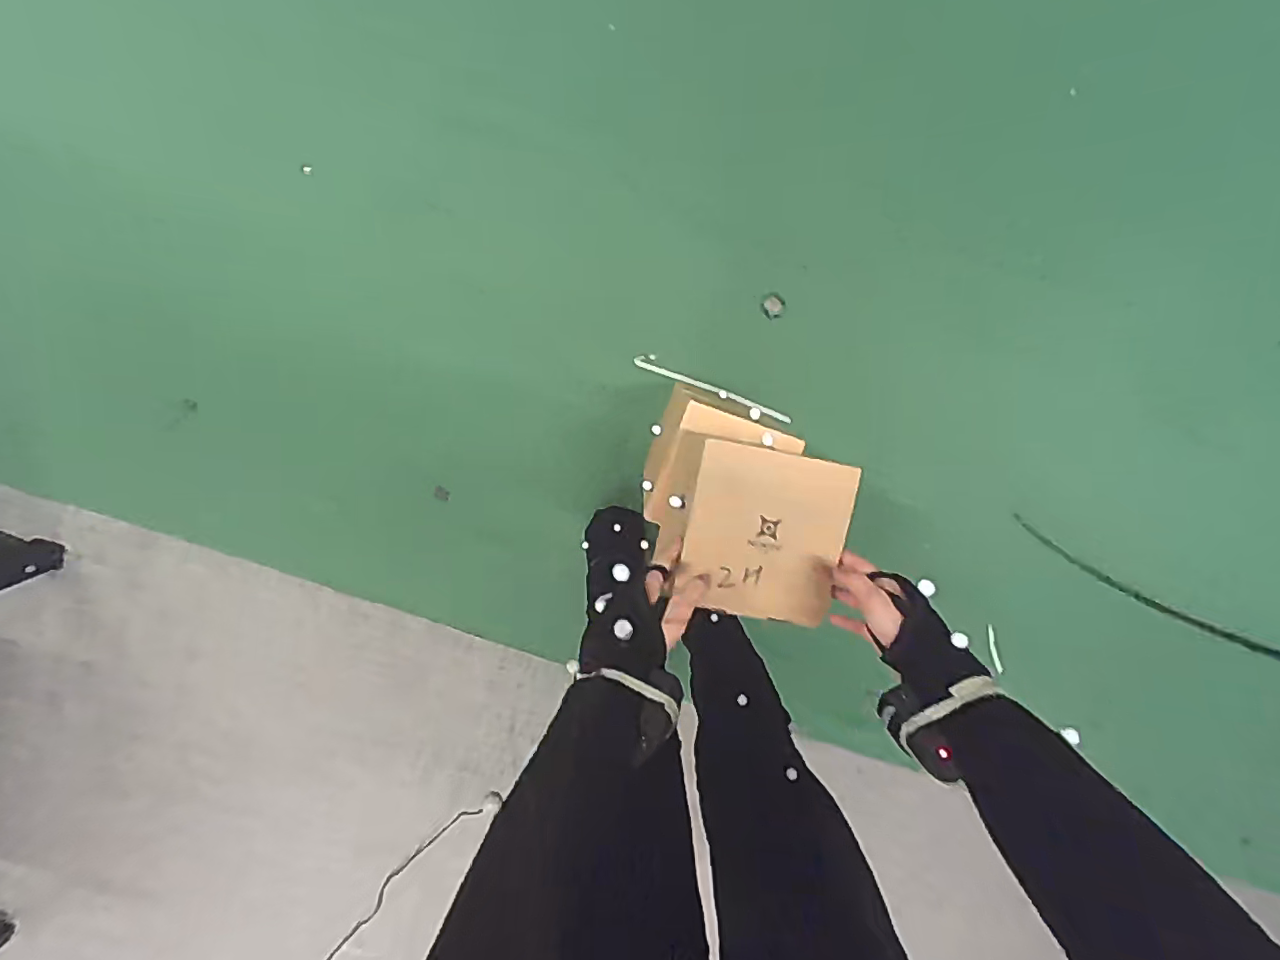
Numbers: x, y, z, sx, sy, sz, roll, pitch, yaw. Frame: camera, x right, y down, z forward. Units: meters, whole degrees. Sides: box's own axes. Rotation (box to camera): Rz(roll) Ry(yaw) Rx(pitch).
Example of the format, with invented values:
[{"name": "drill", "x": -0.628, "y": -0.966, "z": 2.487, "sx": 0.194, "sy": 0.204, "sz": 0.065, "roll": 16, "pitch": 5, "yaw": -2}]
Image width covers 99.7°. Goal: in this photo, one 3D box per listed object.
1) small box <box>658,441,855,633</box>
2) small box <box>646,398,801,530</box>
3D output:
[{"name": "small box", "x": 0.120, "y": 0.053, "z": 0.631, "sx": 0.168, "sy": 0.176, "sz": 0.179, "roll": 11, "pitch": 96, "yaw": -4}, {"name": "small box", "x": 0.110, "y": -0.013, "z": 0.804, "sx": 0.168, "sy": 0.176, "sz": 0.179, "roll": 18, "pitch": 104, "yaw": -4}]
